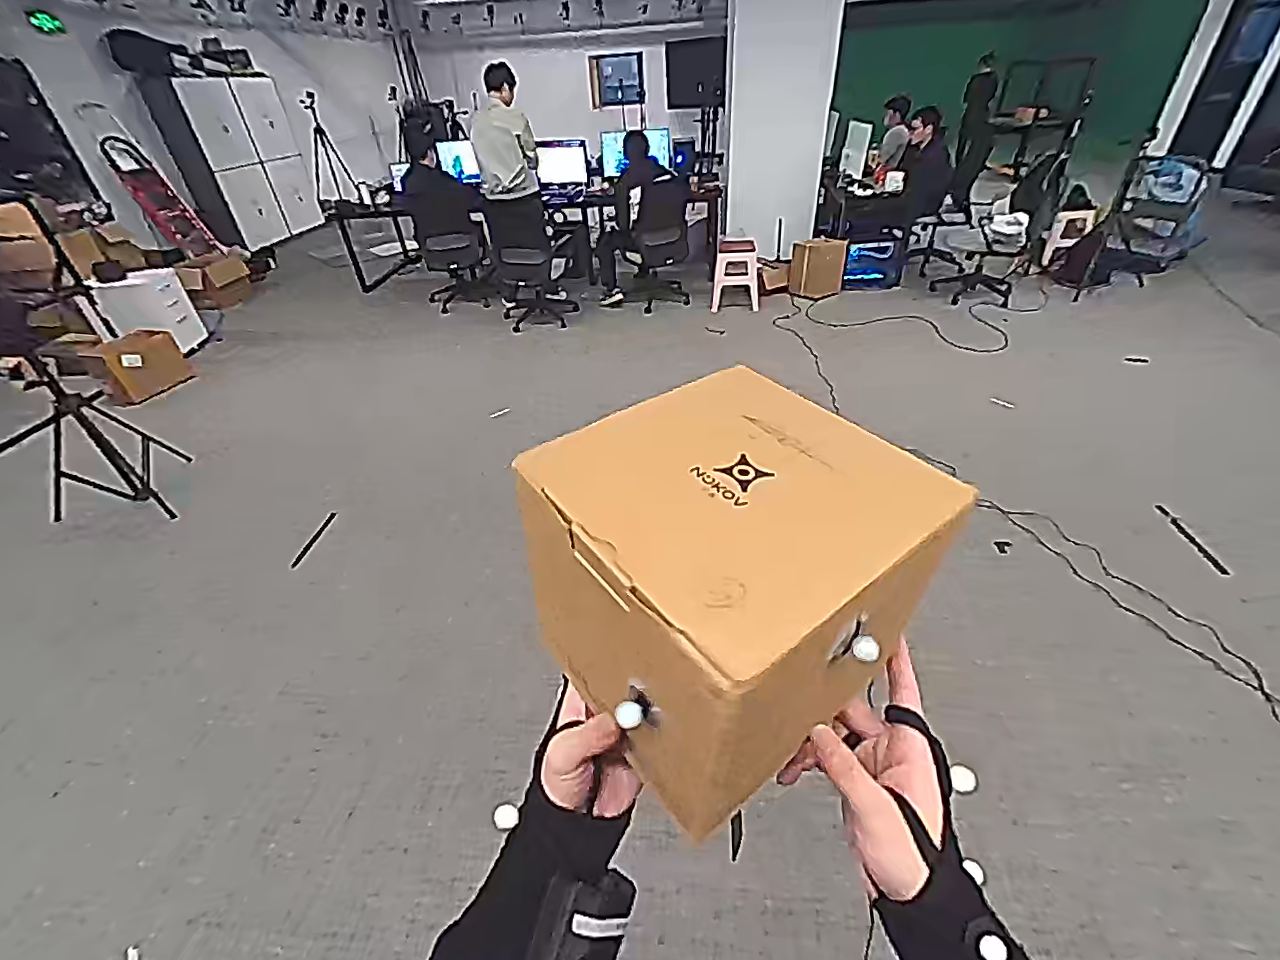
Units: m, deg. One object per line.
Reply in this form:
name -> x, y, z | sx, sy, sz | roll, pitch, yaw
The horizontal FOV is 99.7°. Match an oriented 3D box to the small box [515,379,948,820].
small box -> 0.047, 0.066, 0.341 | 0.179, 0.176, 0.168 | -28, 49, -30
